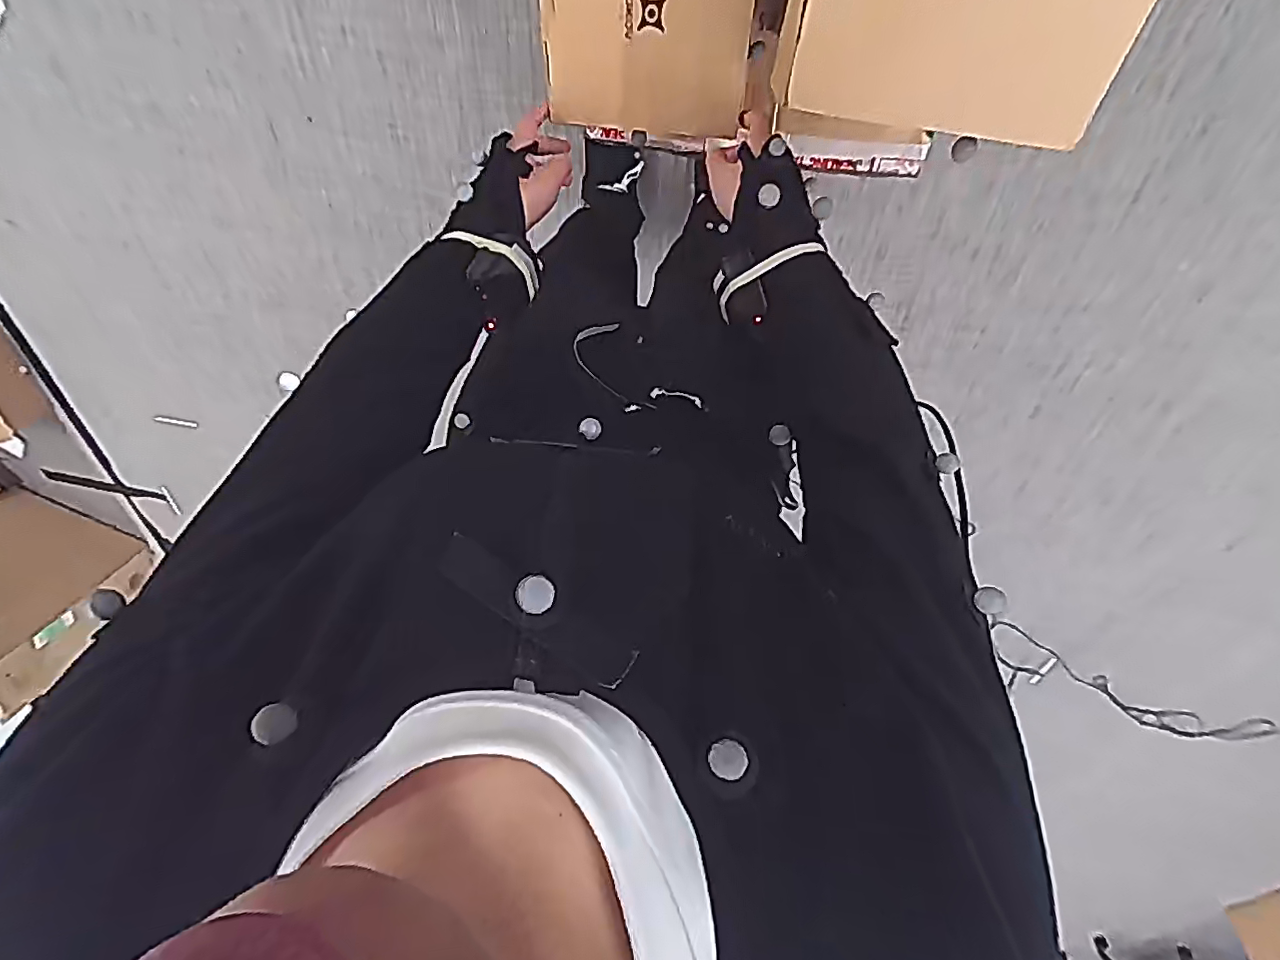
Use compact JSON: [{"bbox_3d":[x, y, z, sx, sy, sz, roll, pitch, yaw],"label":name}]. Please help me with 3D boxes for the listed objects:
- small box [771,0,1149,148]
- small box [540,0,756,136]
[{"bbox_3d":[0.187,-0.321,0.325,0.179,0.176,0.168,11,131,2],"label":"small box"},{"bbox_3d":[0.016,-0.430,0.493,0.179,0.176,0.168,8,131,6],"label":"small box"}]
